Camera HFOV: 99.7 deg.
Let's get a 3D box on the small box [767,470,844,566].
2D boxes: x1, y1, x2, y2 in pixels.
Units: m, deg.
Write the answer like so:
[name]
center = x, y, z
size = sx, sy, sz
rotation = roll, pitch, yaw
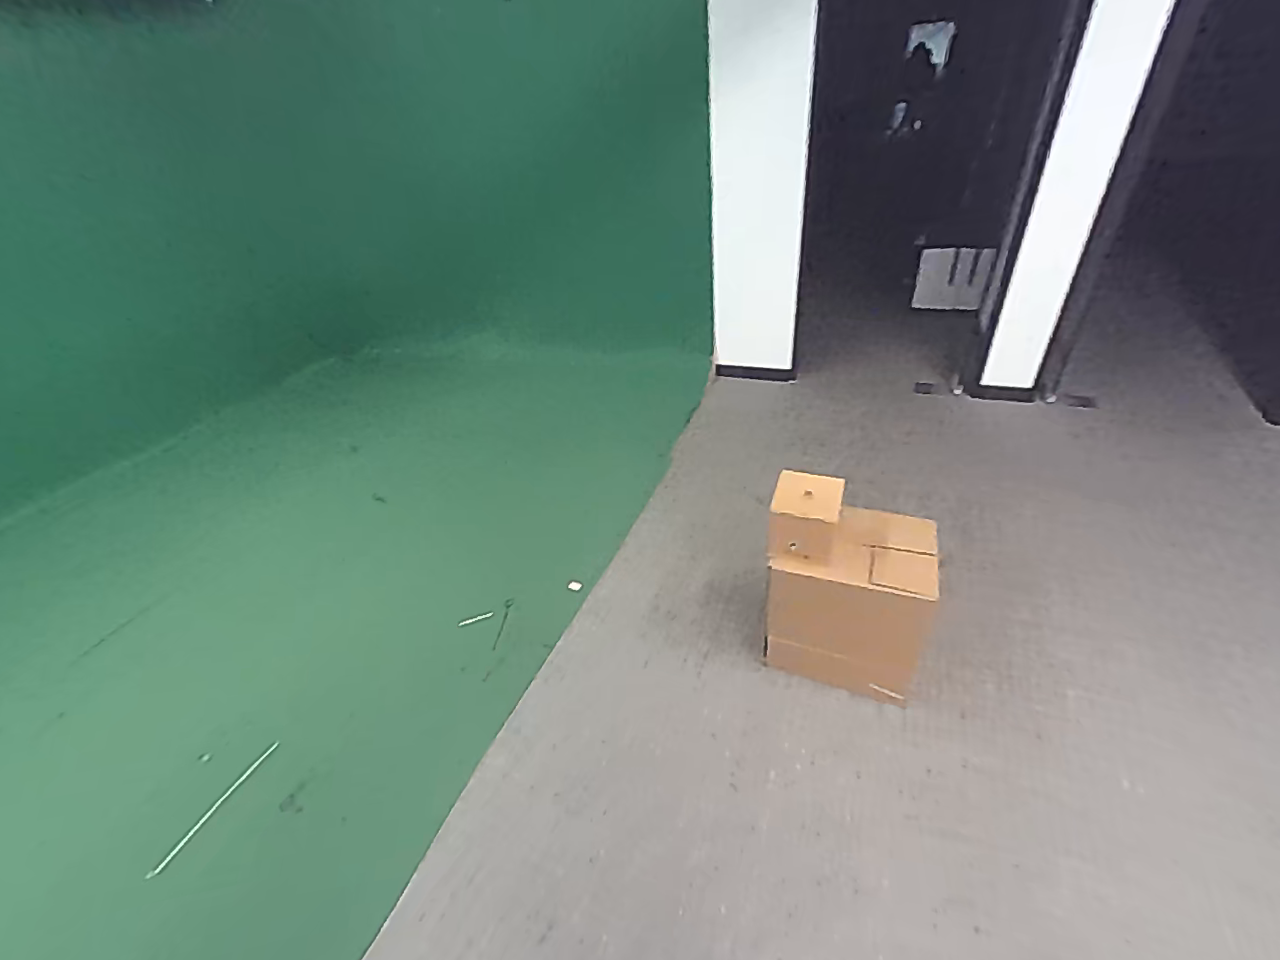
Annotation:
[small box]
center = 0.439, 0.101, 1.446
size = 0.168, 0.176, 0.179
rotation = 10, 42, 20
